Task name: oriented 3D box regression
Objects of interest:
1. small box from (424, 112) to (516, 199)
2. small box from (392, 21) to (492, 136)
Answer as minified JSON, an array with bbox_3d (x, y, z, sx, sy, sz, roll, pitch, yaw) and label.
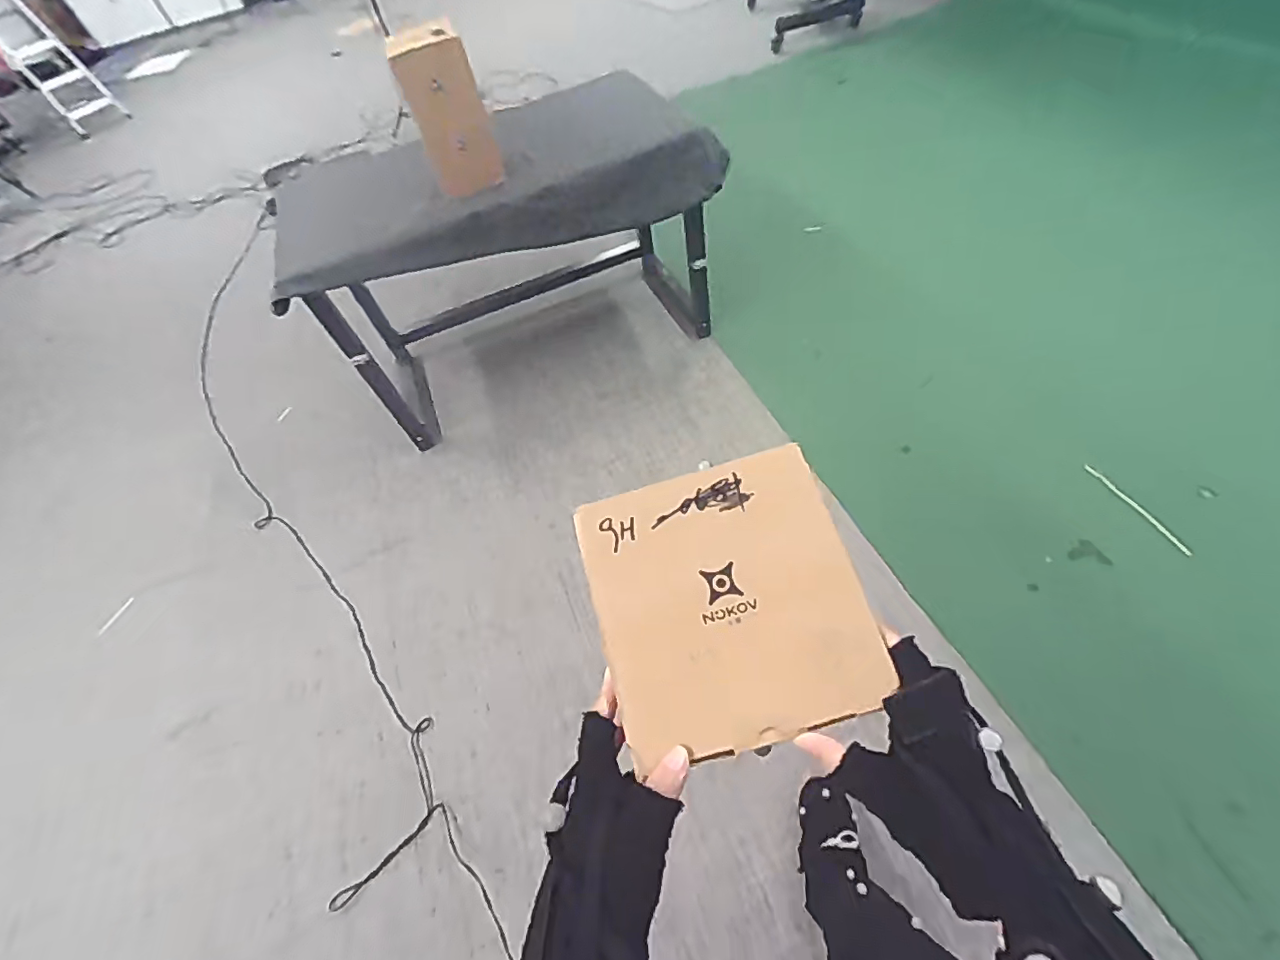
[{"bbox_3d":[-0.460,-0.896,1.472,0.179,0.176,0.168,-22,54,-6],"label":"small box"},{"bbox_3d":[-0.482,-0.992,1.341,0.179,0.176,0.168,-24,55,-7],"label":"small box"}]
